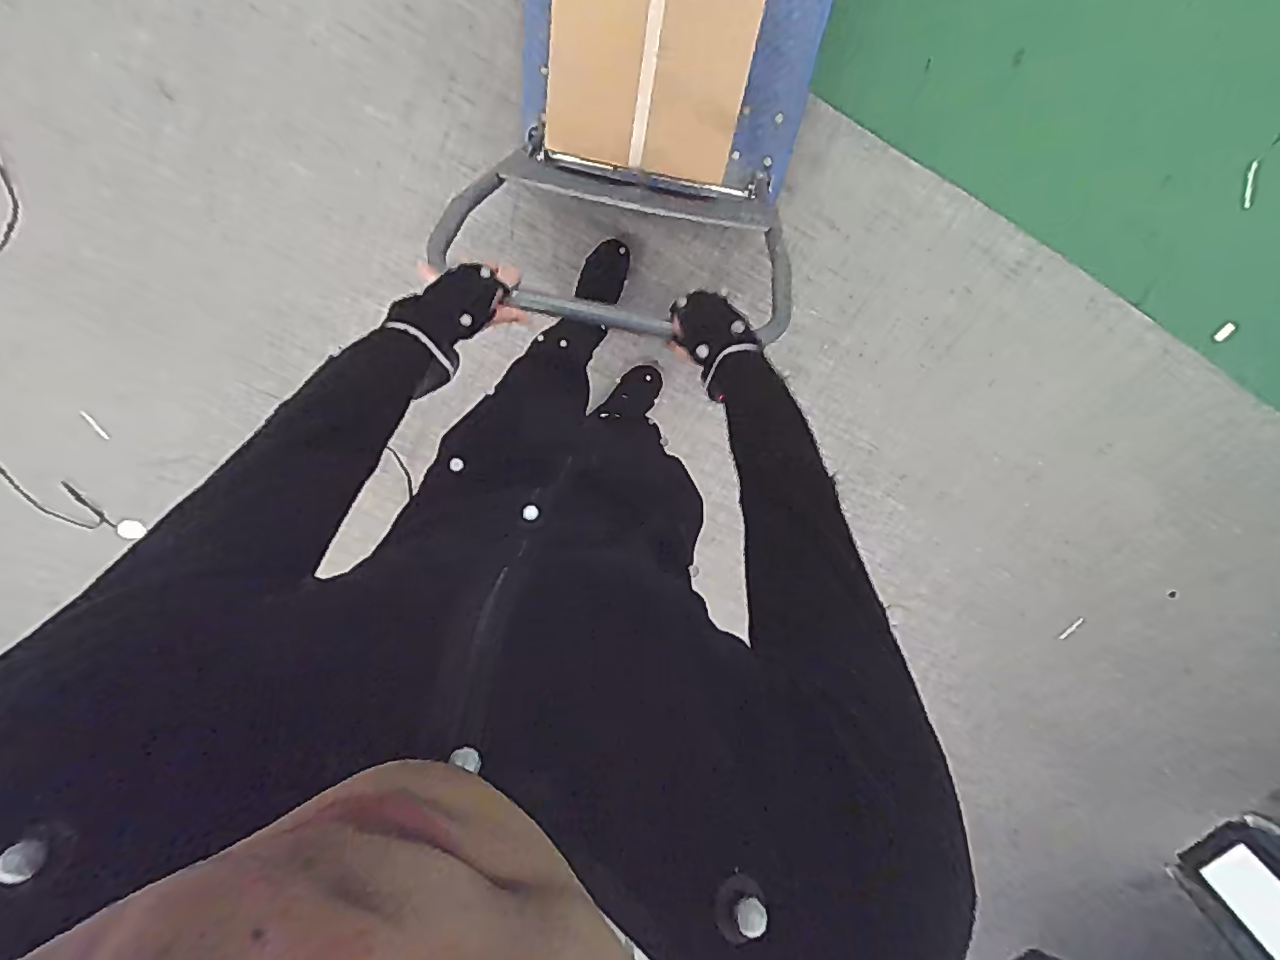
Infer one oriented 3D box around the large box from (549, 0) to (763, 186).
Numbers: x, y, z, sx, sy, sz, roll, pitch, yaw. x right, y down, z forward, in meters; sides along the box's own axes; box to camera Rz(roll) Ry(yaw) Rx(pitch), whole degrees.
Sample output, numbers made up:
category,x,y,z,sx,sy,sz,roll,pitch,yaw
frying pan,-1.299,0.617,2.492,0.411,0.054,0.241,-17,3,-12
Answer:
category,x,y,z,sx,sy,sz,roll,pitch,yaw
large box,0.039,-0.784,0.944,0.320,0.320,0.408,11,128,-1
